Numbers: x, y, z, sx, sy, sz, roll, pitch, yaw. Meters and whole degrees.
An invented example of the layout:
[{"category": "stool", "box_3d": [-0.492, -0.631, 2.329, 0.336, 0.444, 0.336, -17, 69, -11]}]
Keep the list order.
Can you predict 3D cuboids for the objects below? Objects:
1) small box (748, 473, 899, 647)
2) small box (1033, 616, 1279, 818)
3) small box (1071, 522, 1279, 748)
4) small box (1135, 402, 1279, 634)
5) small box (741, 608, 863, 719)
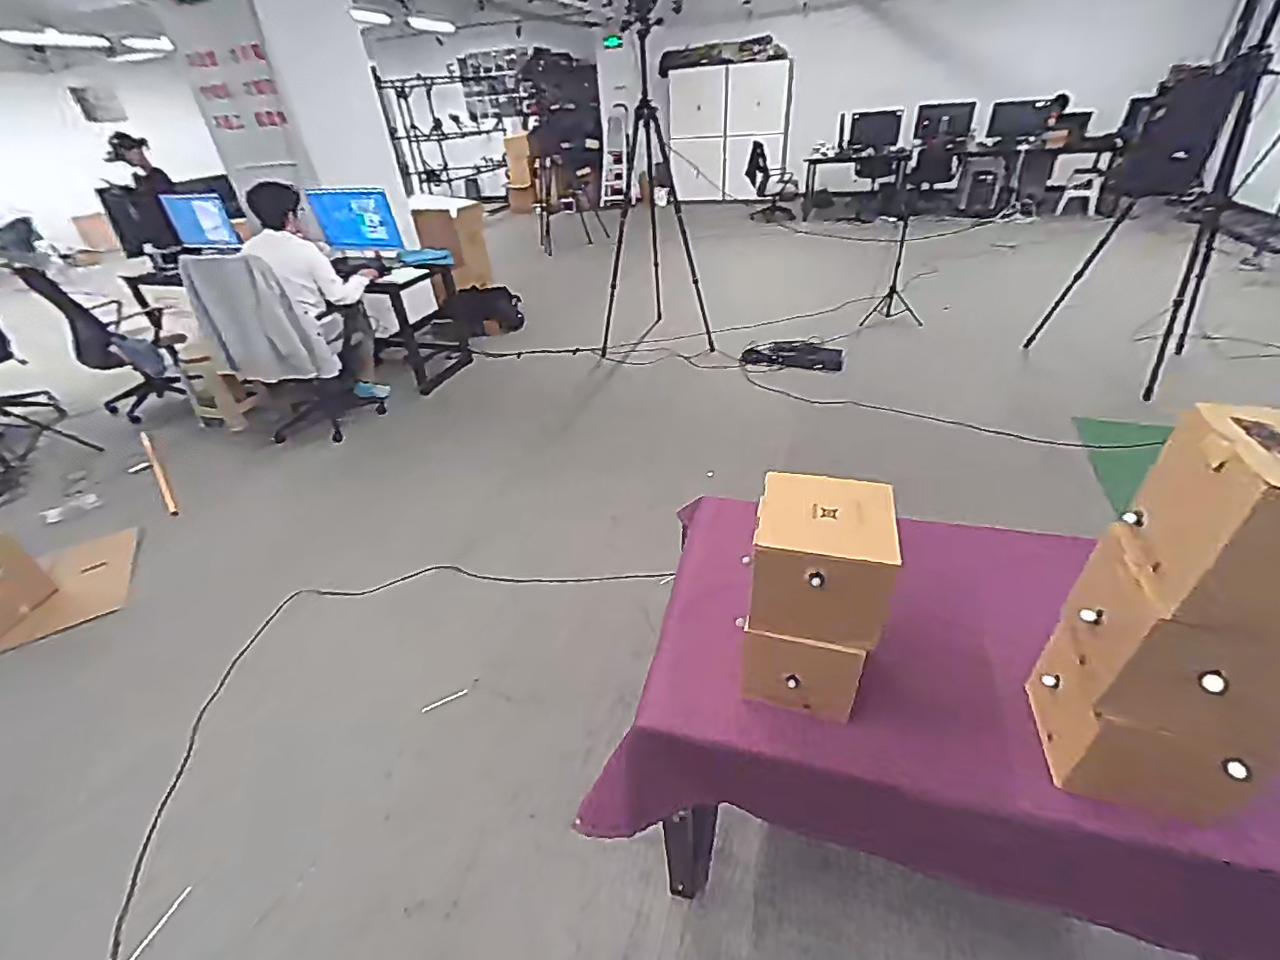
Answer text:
[{"category": "small box", "box_3d": [0.250, 0.111, 0.762, 0.179, 0.176, 0.168, 7, 38, 16]}, {"category": "small box", "box_3d": [0.655, 0.310, 0.716, 0.179, 0.176, 0.168, 7, 37, 16]}, {"category": "small box", "box_3d": [0.637, 0.175, 0.624, 0.179, 0.176, 0.168, 9, 37, 19]}, {"category": "small box", "box_3d": [0.633, 0.042, 0.526, 0.179, 0.176, 0.168, 10, 37, 19]}, {"category": "small box", "box_3d": [0.256, 0.244, 0.856, 0.168, 0.176, 0.179, 8, 37, 17]}]
